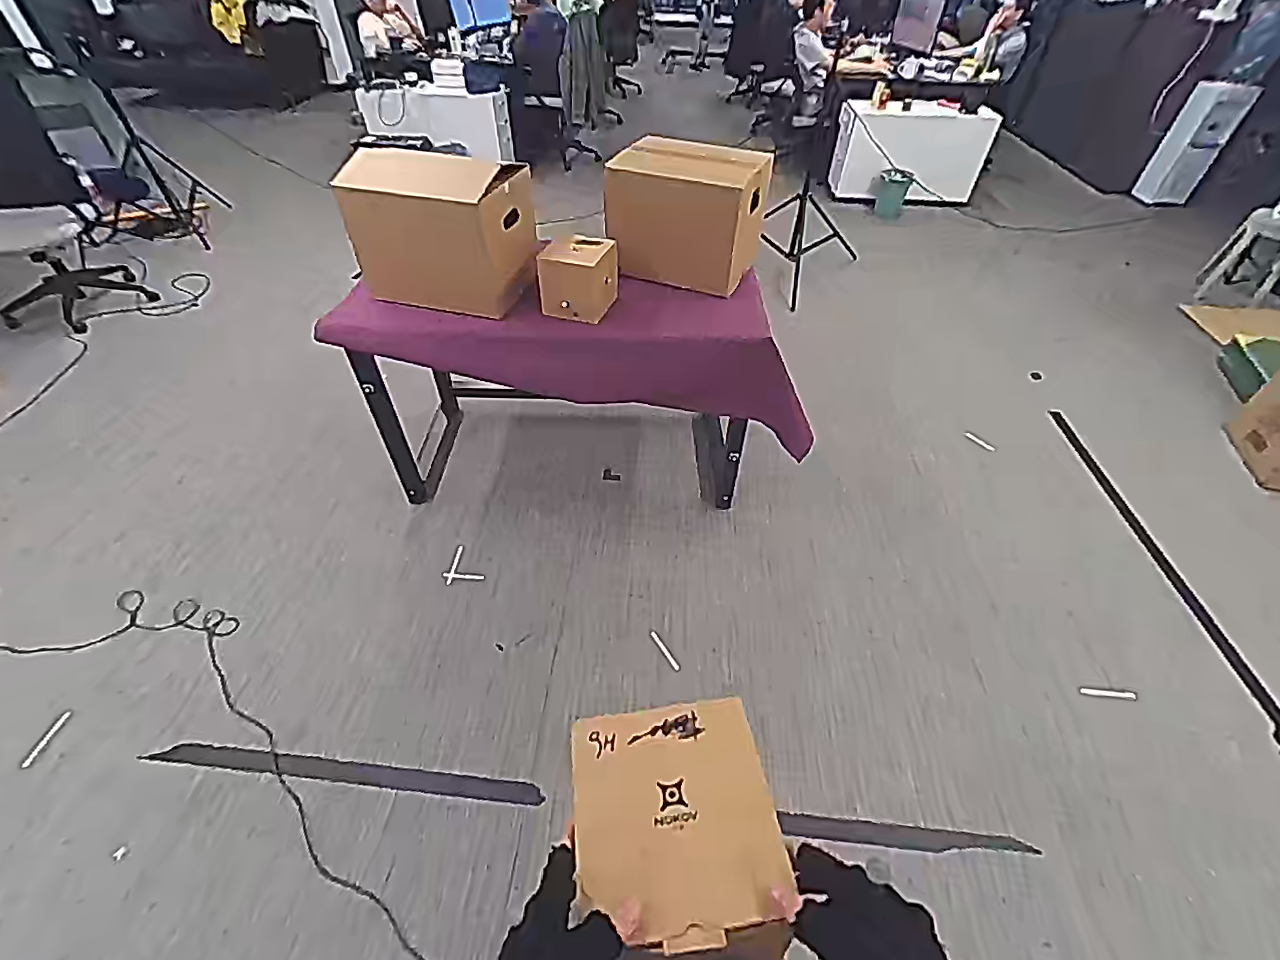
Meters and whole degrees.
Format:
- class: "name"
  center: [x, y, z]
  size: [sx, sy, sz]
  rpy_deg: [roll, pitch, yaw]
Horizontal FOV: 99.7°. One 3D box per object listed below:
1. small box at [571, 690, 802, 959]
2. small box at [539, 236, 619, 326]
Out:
- class: "small box"
  center: [0.031, 0.325, 0.494]
  size: [0.168, 0.176, 0.179]
  rpy_deg: [-7, 39, -5]
- class: "small box"
  center: [-0.165, -0.556, 1.510]
  size: [0.168, 0.176, 0.179]
  rpy_deg: [14, 47, 12]
